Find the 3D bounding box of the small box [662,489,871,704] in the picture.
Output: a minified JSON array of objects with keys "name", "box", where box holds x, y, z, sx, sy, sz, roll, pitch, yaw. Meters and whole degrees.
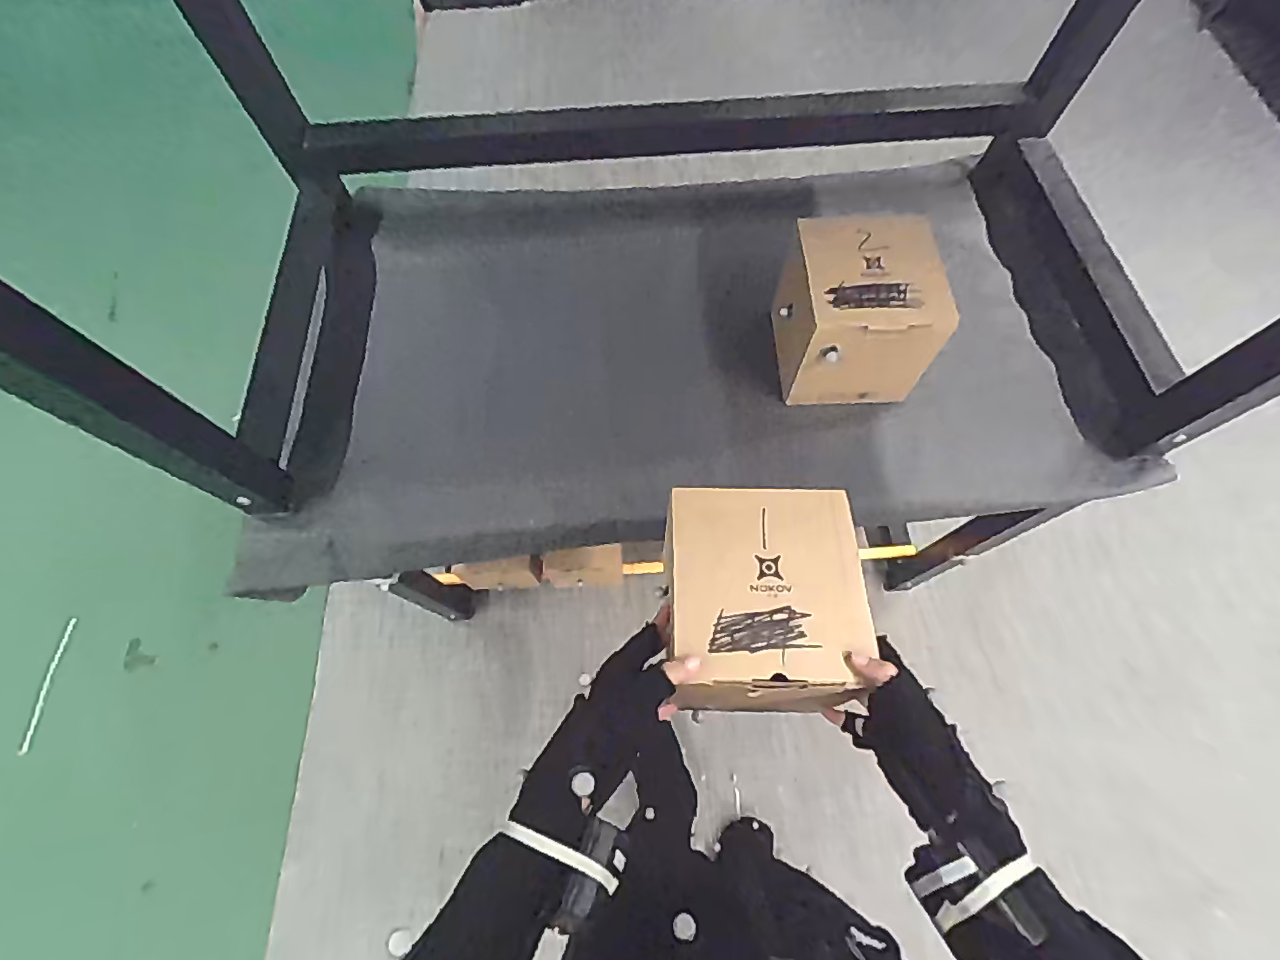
[{"name":"small box","box":[0.110,0.125,0.550,0.168,0.176,0.179,1,59,0]}]
